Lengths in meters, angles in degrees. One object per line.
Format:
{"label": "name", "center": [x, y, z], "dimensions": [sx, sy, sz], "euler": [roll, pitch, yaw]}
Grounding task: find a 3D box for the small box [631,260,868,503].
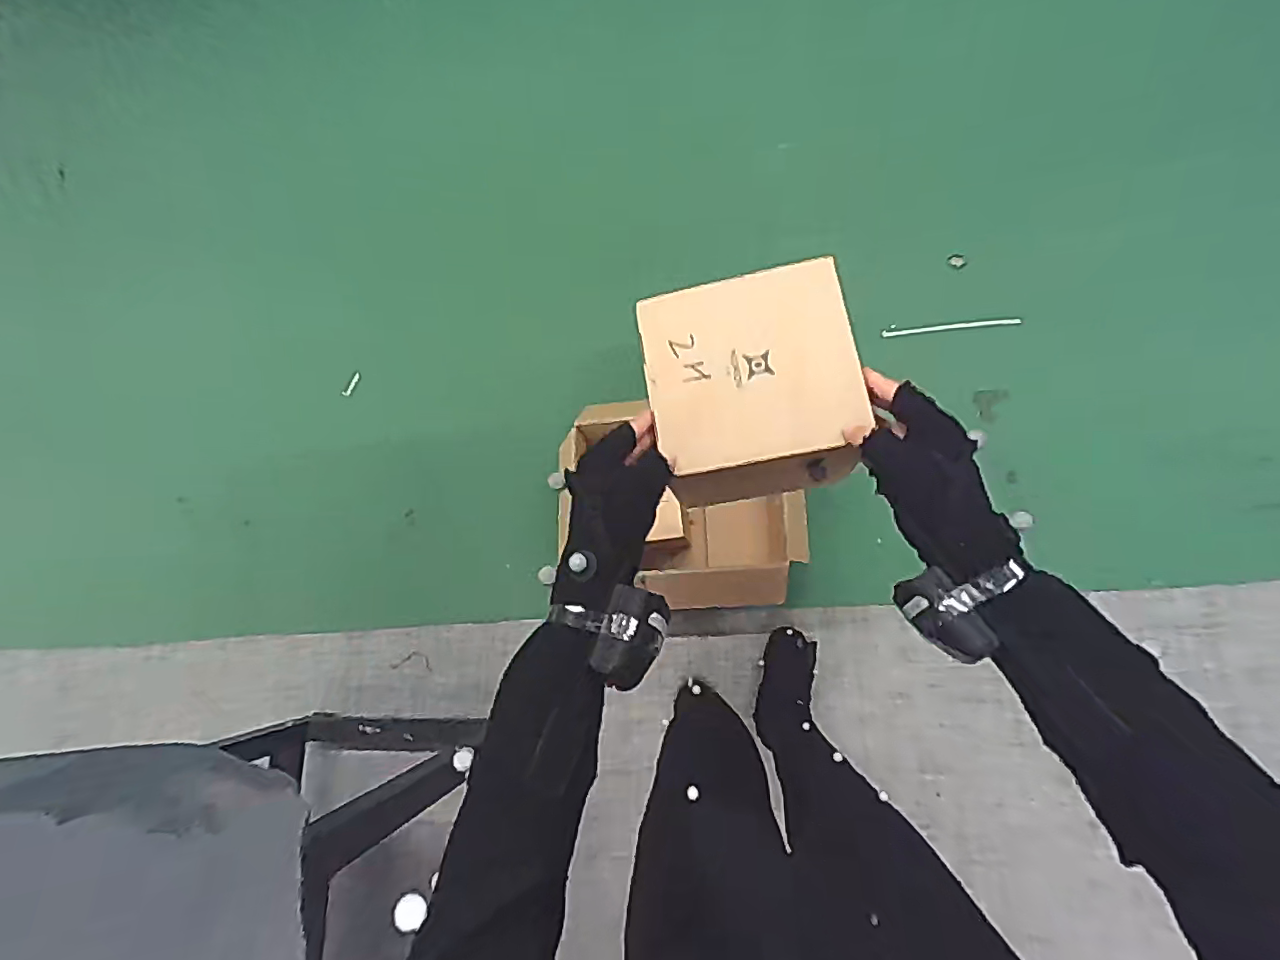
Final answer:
{"label": "small box", "center": [0.101, -0.080, 0.534], "dimensions": [0.179, 0.176, 0.168], "euler": [-11, 76, 10]}
